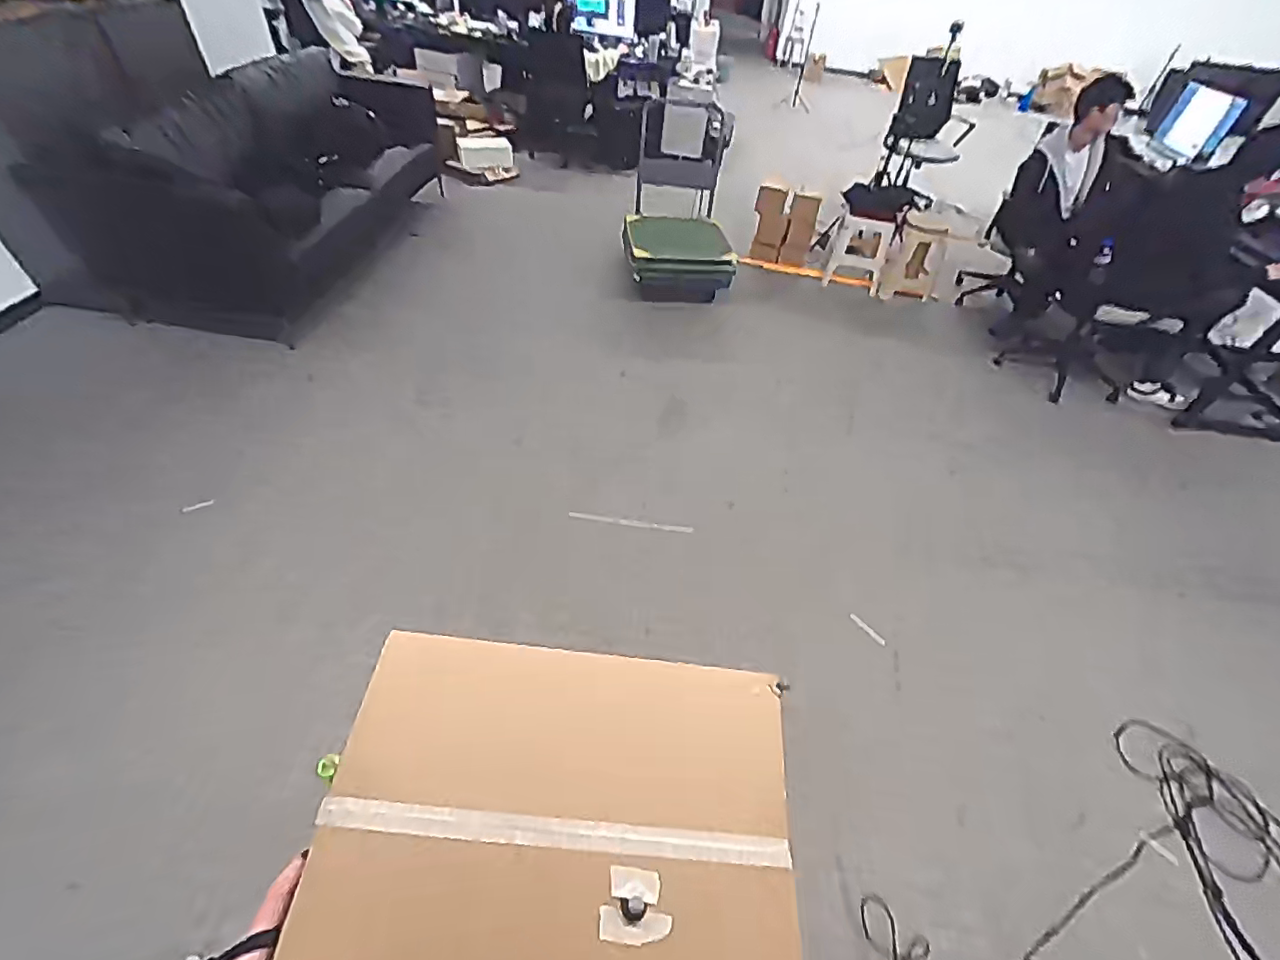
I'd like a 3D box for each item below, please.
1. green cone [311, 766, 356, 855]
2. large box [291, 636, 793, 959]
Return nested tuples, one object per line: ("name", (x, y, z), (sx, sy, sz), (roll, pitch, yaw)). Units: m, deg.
("green cone", (-0.662, 0.718, 1.226), (0.200, 0.368, 0.202), (13, 47, 5))
("large box", (-0.082, 0.394, 0.602), (0.408, 0.320, 0.320), (7, 54, -3))
